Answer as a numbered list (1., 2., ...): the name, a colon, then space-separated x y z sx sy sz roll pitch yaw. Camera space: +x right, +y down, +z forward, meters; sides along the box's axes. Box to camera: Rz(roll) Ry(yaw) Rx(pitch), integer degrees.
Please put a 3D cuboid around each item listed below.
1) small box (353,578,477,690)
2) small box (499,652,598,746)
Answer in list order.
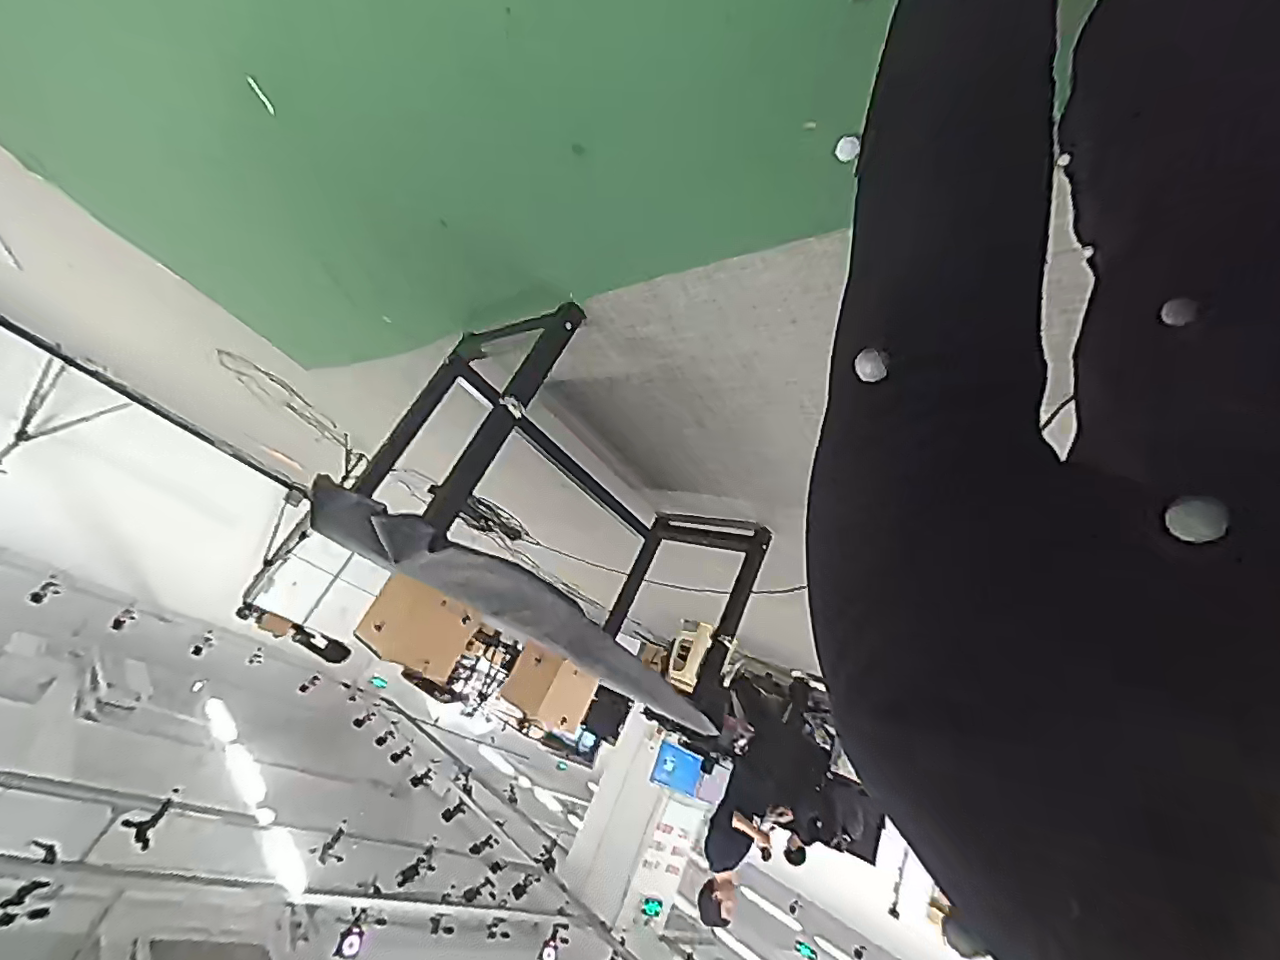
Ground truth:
1. small box: -0.494 0.337 1.208 0.179 0.176 0.168 6 150 45
2. small box: -0.249 0.598 1.498 0.179 0.176 0.168 5 149 45
